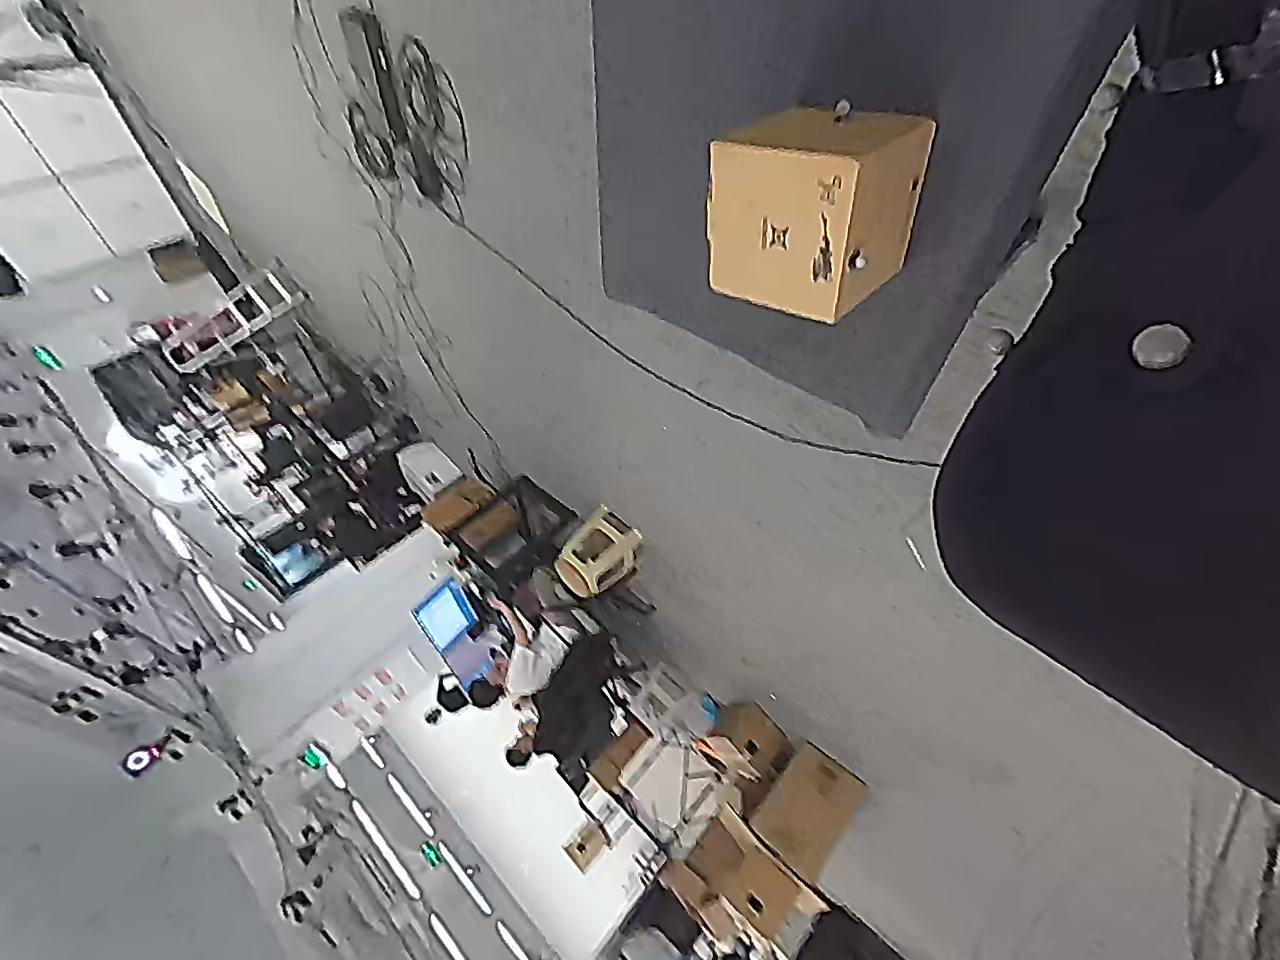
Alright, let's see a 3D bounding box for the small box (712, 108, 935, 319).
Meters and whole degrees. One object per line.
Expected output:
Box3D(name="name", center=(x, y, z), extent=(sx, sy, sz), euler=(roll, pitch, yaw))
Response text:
Box3D(name="small box", center=(0.204, -0.318, 0.633), extent=(0.179, 0.176, 0.168), euler=(32, 147, 34))
